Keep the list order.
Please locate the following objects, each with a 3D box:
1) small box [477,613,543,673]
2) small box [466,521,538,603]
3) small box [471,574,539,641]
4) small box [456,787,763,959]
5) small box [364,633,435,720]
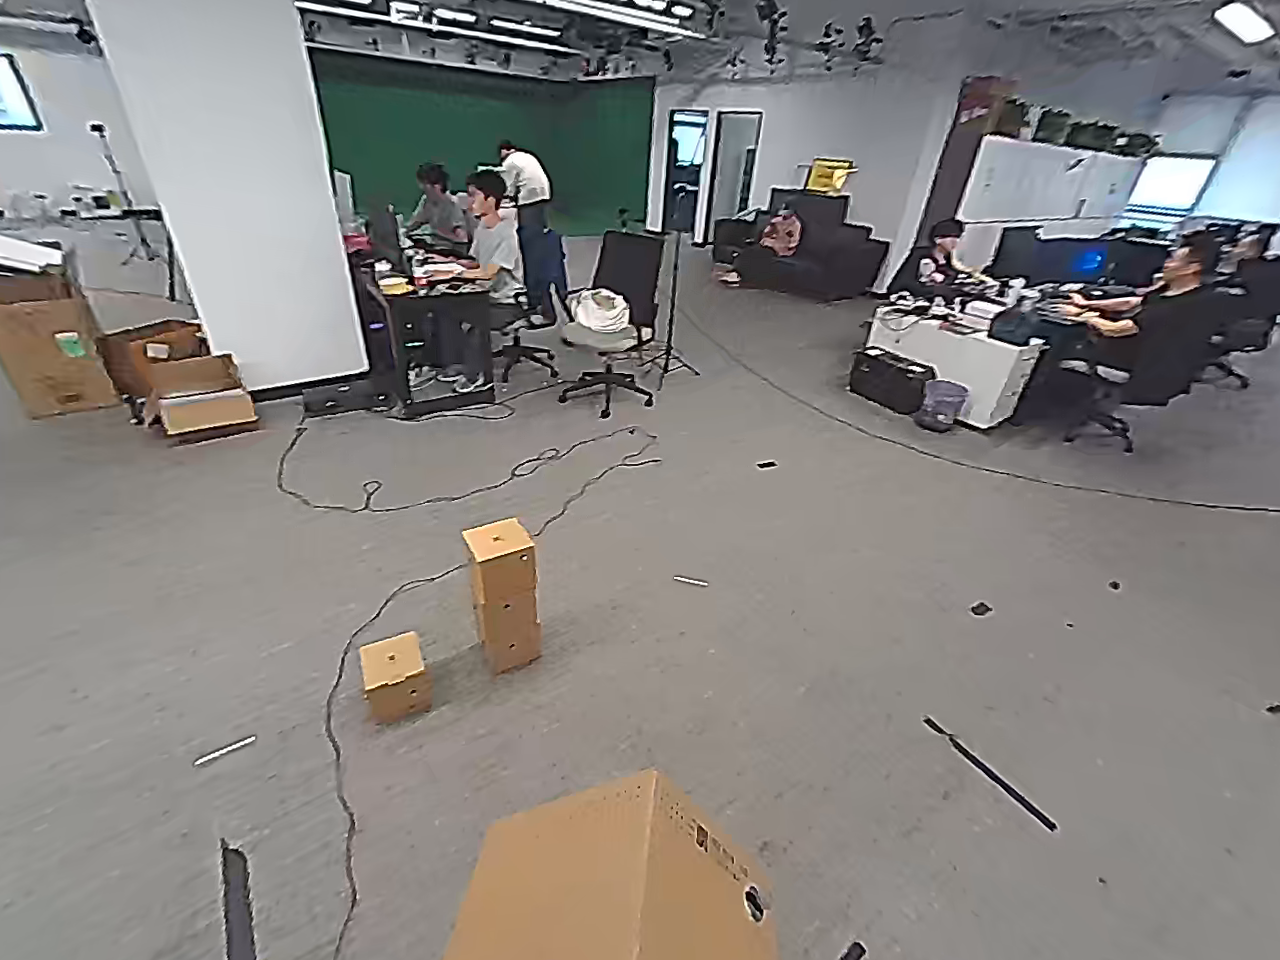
[{"bbox_3d":[-0.444,0.532,1.863,0.179,0.176,0.168,-15,37,-28],"label":"small box"},{"bbox_3d":[-0.427,0.256,1.686,0.179,0.176,0.168,-15,36,-29],"label":"small box"},{"bbox_3d":[-0.440,0.395,1.770,0.179,0.176,0.168,-13,36,-27],"label":"small box"},{"bbox_3d":[-0.022,0.351,0.381,0.179,0.168,0.176,-31,20,23],"label":"small box"},{"bbox_3d":[-0.749,0.619,1.688,0.168,0.176,0.179,-12,35,-26],"label":"small box"}]
